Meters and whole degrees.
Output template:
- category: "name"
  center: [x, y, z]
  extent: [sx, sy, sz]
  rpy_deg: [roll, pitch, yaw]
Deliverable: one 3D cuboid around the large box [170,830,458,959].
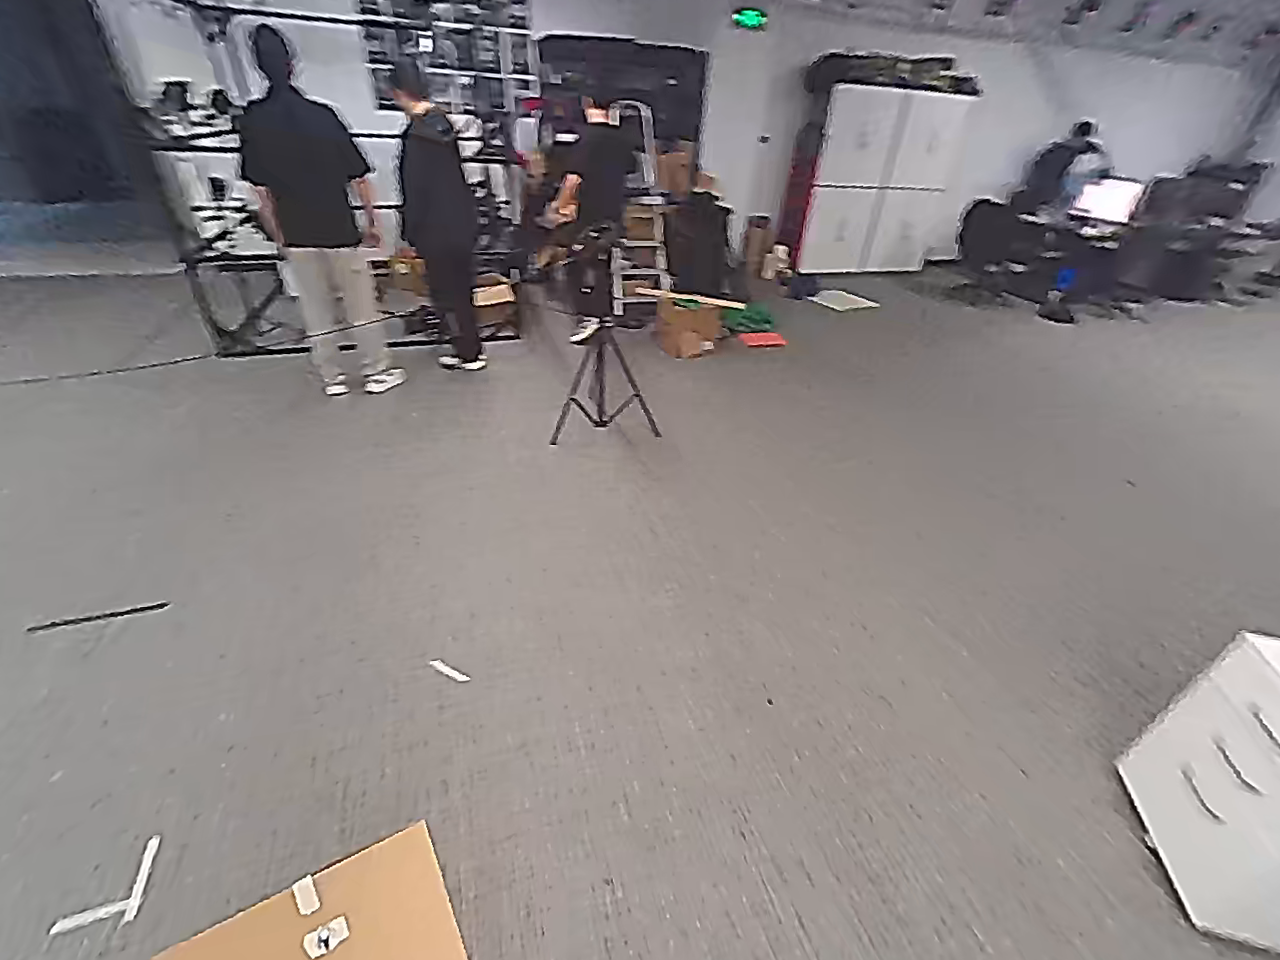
- category: "large box"
  center: [-0.364, 0.758, 0.669]
  extent: [0.320, 0.408, 0.320]
  rpy_deg: [-14, 27, -30]
